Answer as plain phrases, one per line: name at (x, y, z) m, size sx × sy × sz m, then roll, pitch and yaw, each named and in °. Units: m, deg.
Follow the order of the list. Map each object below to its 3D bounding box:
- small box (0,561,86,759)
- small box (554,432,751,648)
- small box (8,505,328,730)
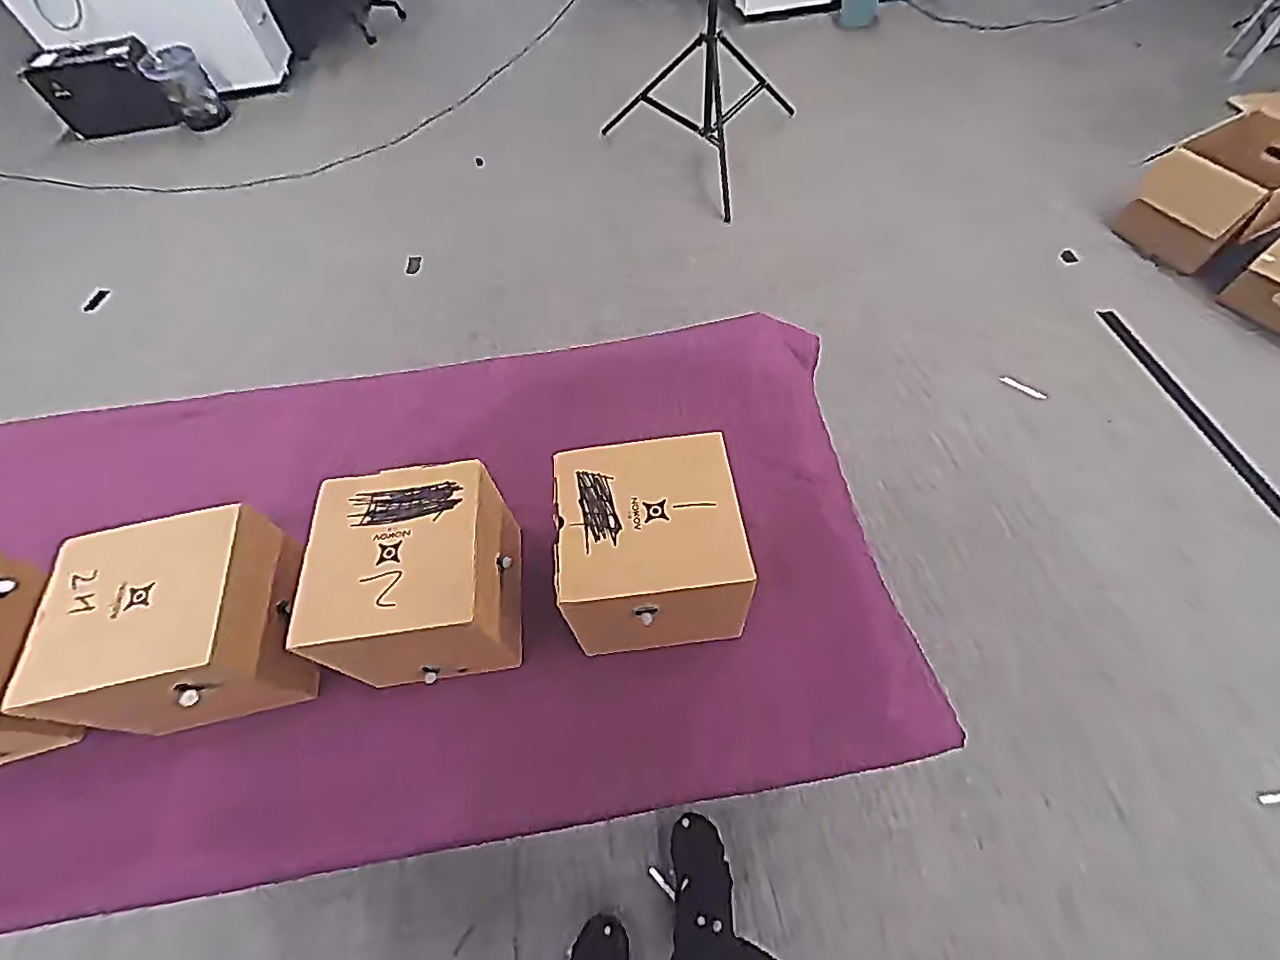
small box at (-0.715, 0.197, 0.566) m, size 0.168 × 0.176 × 0.179 m, roll -15°, pitch 58°, yaw -5°
small box at (0.011, 0.071, 0.581) m, size 0.179 × 0.176 × 0.168 m, roll -7°, pitch 57°, yaw 0°
small box at (-0.463, 0.151, 0.572) m, size 0.179 × 0.176 × 0.168 m, roll -13°, pitch 58°, yaw -3°
